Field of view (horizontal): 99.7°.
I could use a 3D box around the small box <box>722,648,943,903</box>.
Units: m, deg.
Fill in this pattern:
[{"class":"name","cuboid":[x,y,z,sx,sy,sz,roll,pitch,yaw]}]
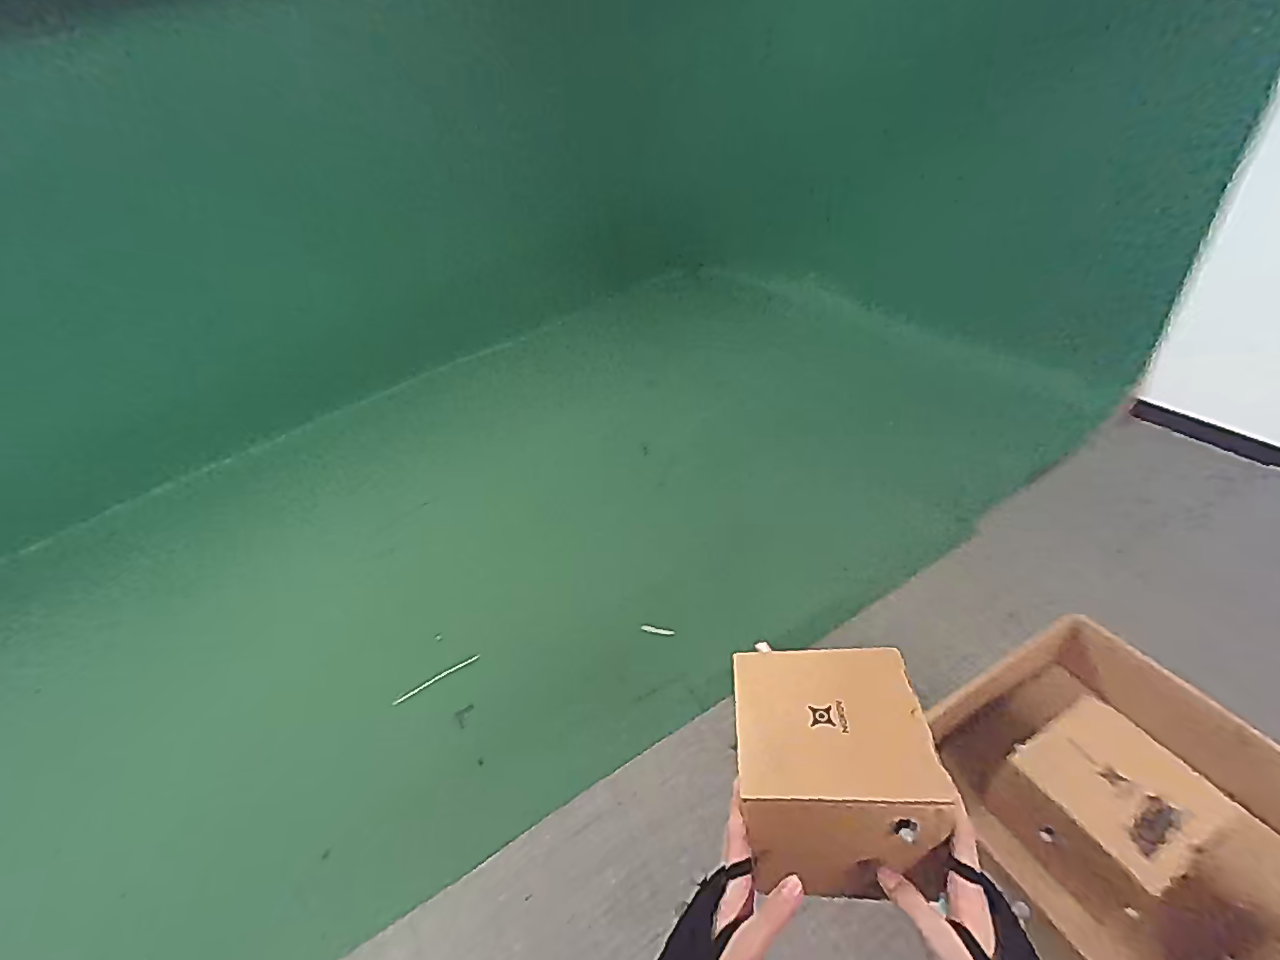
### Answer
[{"class":"small box","cuboid":[0.181,0.294,0.548,0.179,0.176,0.168,-6,29,10]}]
